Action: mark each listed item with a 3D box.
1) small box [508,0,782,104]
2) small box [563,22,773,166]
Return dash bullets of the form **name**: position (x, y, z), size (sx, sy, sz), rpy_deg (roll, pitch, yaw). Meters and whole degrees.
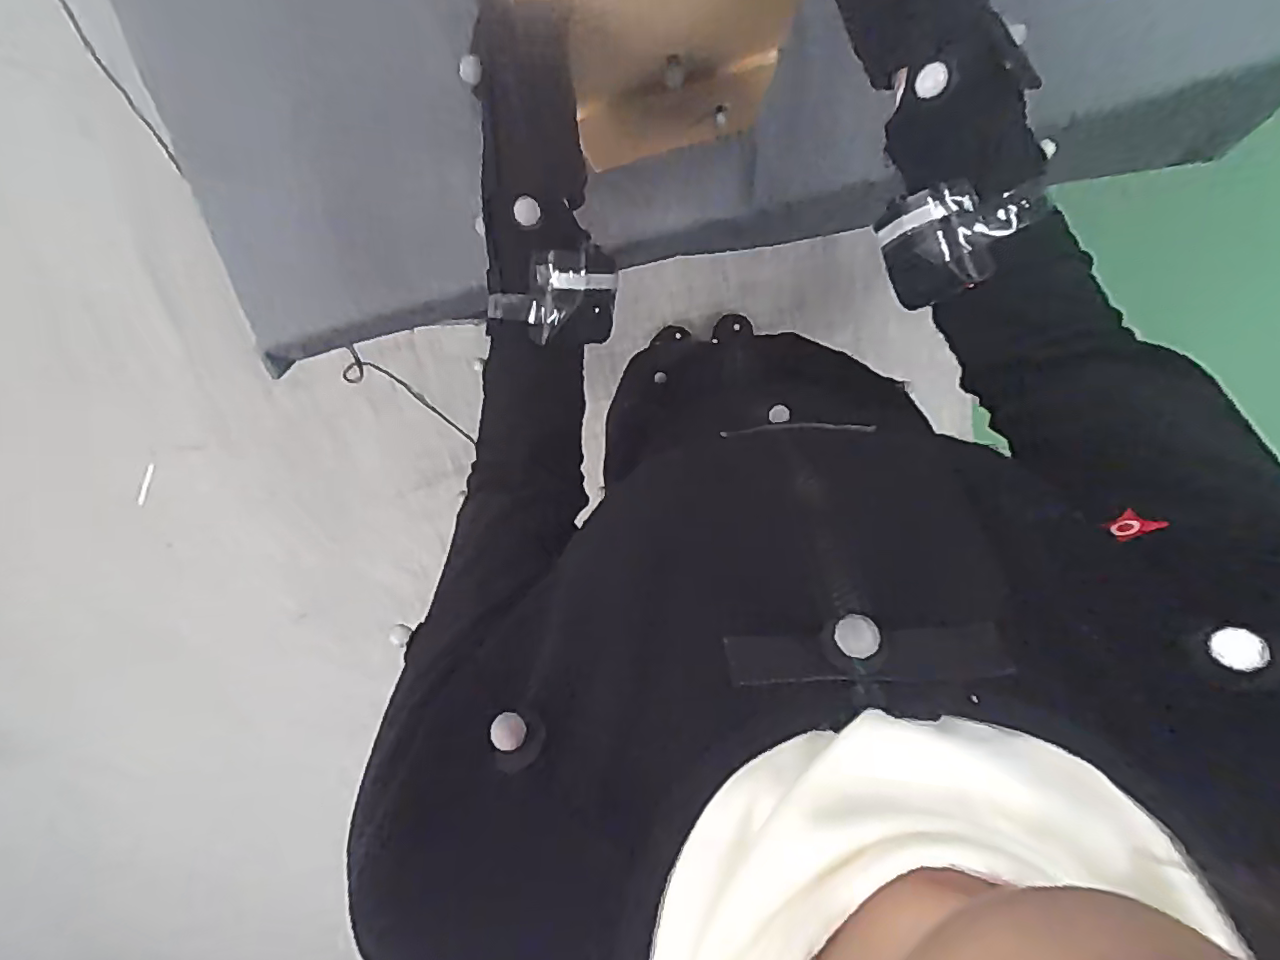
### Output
- **small box**: position (-0.002, -0.370, 0.333), size (0.179, 0.176, 0.168), rpy_deg (-13, 108, 6)
- **small box**: position (0.009, -0.417, 0.495), size (0.179, 0.176, 0.168), rpy_deg (-13, 105, 8)
